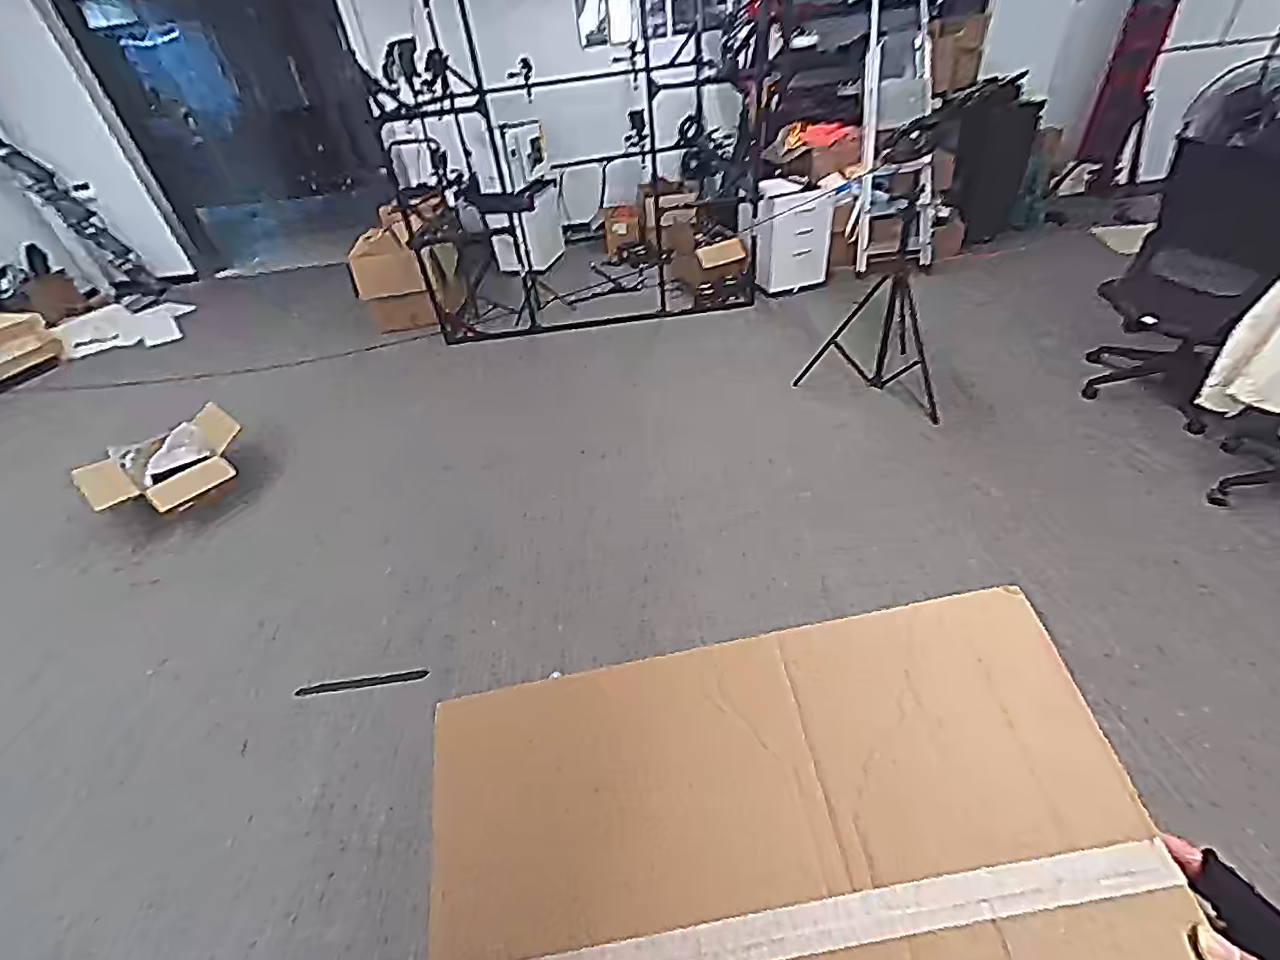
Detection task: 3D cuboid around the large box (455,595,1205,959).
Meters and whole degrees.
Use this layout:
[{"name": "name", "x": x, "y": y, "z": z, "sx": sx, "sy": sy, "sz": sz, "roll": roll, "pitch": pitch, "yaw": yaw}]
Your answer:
[{"name": "large box", "x": 0.107, "y": 0.326, "z": 0.432, "sx": 0.408, "sy": 0.320, "sz": 0.320, "roll": -13, "pitch": 61, "yaw": 2}]
